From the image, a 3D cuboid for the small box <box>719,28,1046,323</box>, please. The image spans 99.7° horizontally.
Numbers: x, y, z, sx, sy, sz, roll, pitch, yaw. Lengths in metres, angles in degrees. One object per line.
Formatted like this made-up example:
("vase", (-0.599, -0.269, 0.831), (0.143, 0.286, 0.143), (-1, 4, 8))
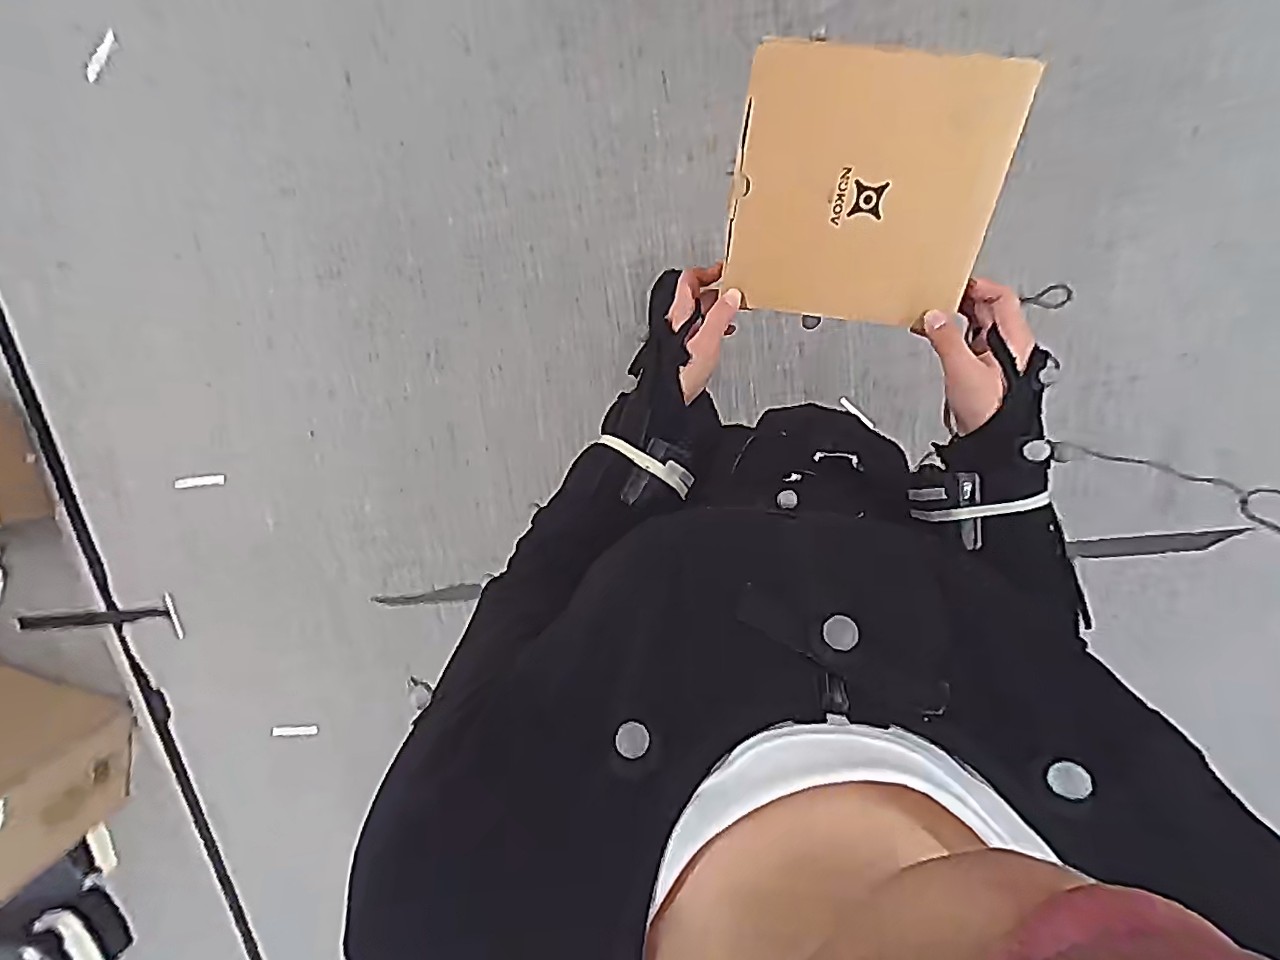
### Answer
("small box", (0.167, -0.239, 0.443), (0.179, 0.176, 0.168), (10, 119, 6))
